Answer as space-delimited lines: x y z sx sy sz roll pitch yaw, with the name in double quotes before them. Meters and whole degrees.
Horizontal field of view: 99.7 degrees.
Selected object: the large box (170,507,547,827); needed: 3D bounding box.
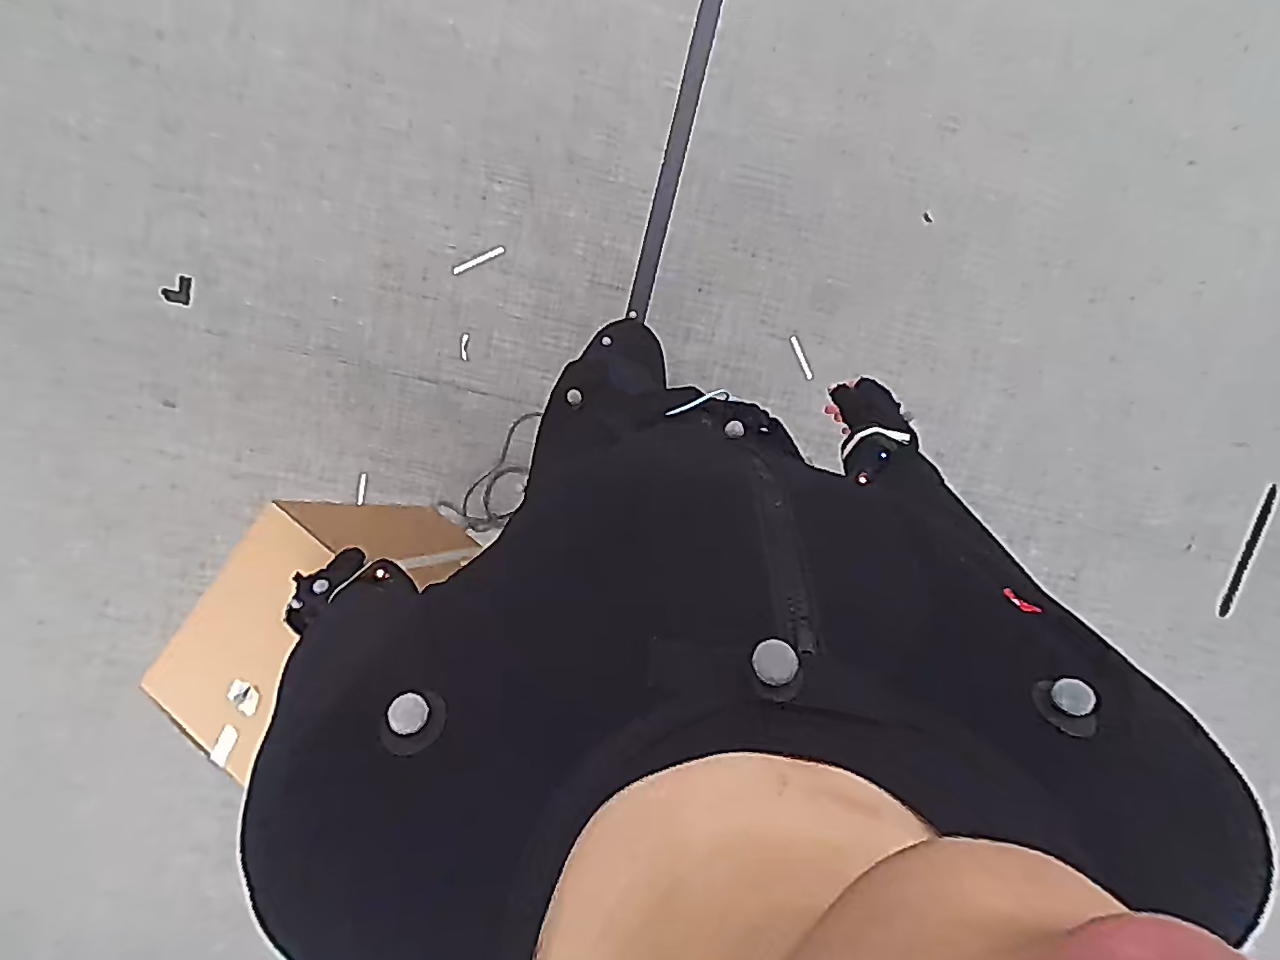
"large box" -0.418 0.261 0.906 0.320 0.408 0.320 37 91 10
